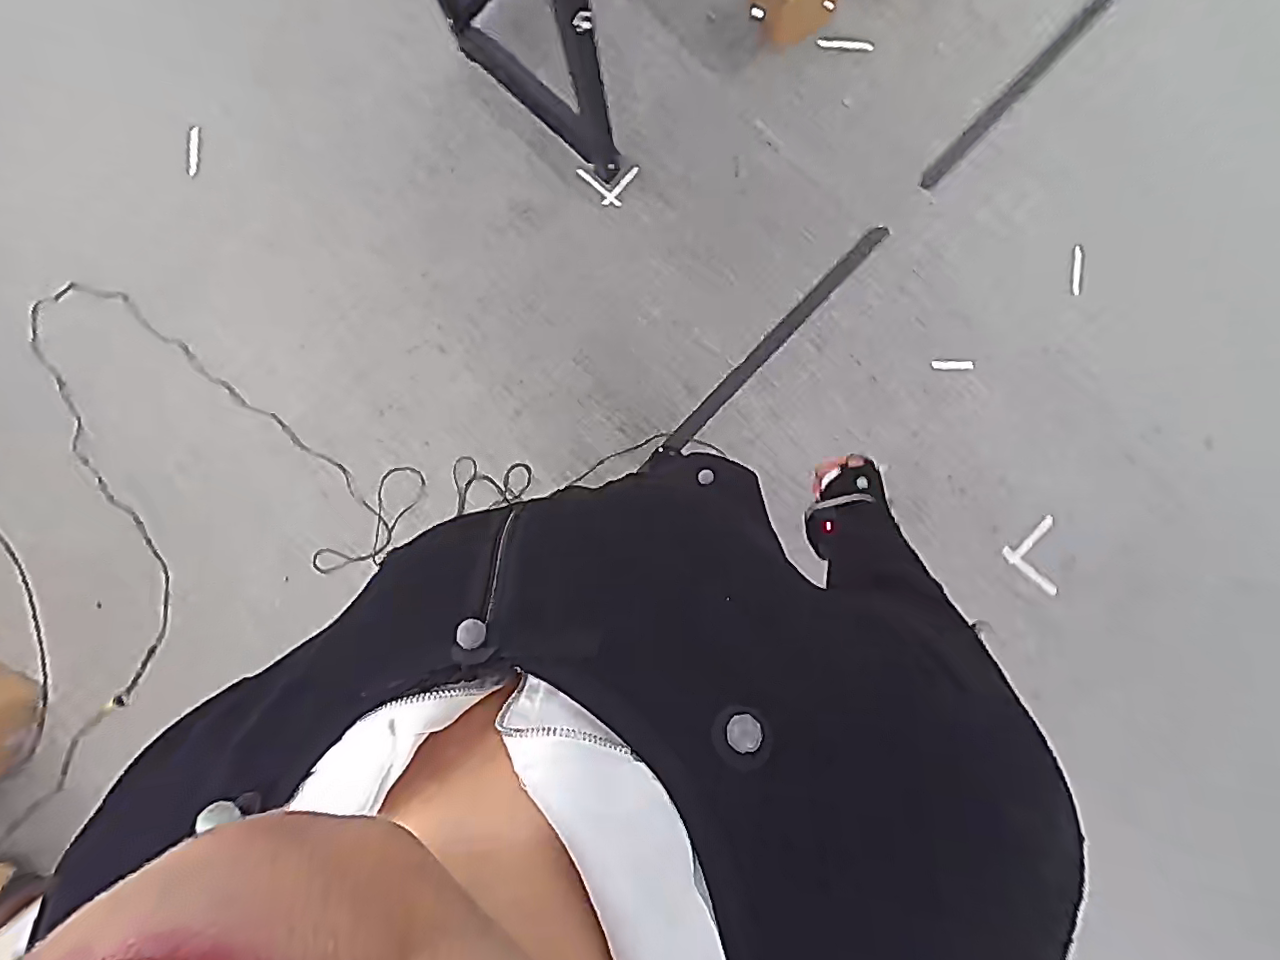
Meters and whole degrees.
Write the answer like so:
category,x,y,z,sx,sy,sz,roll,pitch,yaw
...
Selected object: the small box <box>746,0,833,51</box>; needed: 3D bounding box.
category,x,y,z,sx,sy,sz,roll,pitch,yaw
small box,0.388,-1.263,1.378,0.179,0.176,0.168,-26,88,5
